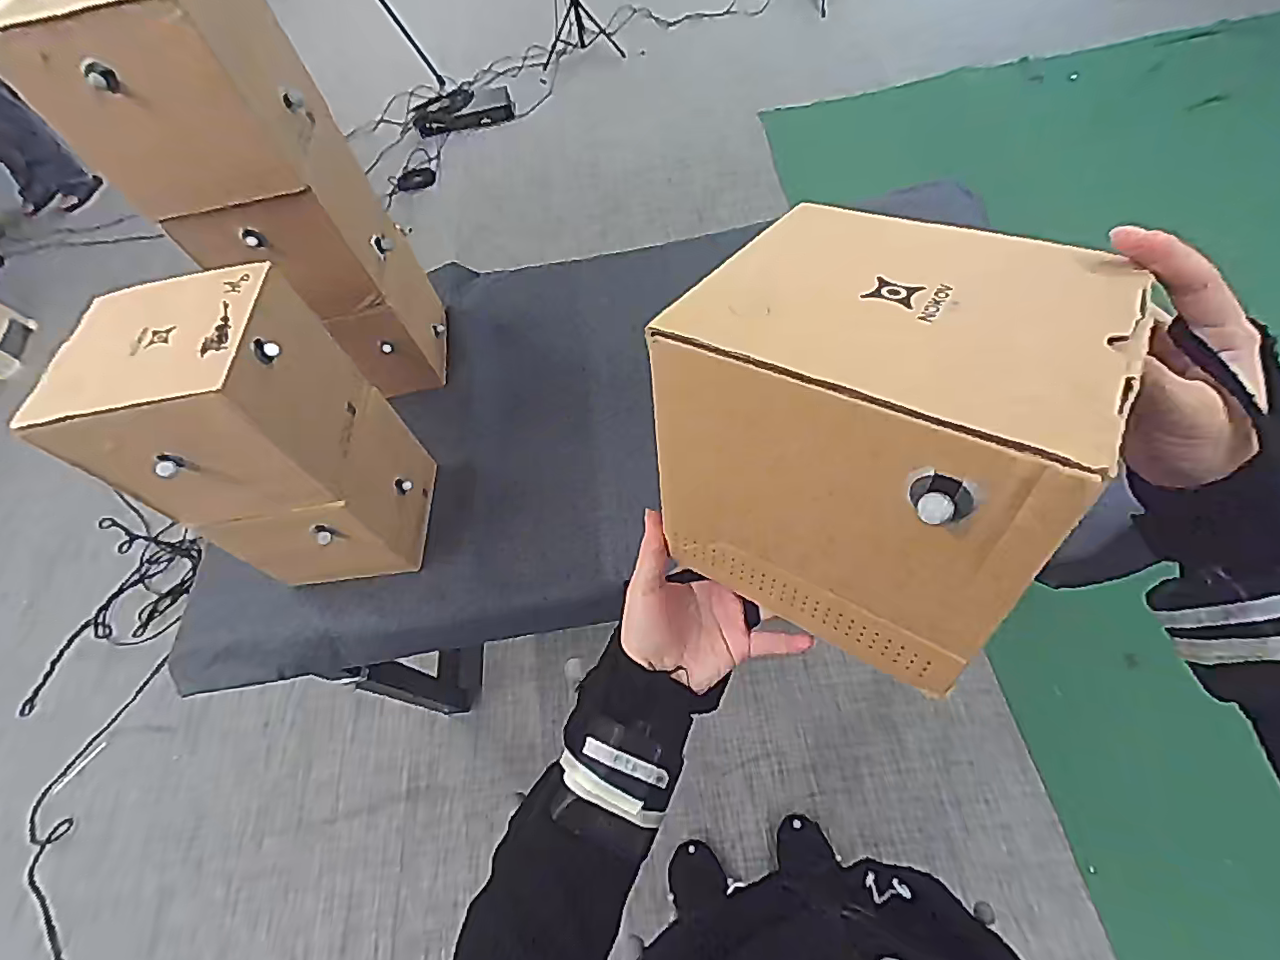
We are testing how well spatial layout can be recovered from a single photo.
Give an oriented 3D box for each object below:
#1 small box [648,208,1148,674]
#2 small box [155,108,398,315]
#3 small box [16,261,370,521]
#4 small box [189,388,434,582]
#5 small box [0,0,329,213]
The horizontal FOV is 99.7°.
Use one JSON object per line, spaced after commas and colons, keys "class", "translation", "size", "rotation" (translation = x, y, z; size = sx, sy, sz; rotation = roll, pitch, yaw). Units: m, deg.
{"class": "small box", "translation": [0.123, -0.026, 0.301], "size": [0.179, 0.176, 0.168], "rotation": [25, 53, 26]}
{"class": "small box", "translation": [-0.433, -0.320, 0.678], "size": [0.179, 0.176, 0.168], "rotation": [-12, 61, 0]}
{"class": "small box", "translation": [-0.401, -0.076, 0.526], "size": [0.179, 0.176, 0.168], "rotation": [-11, 57, 3]}
{"class": "small box", "translation": [-0.376, 0.013, 0.661], "size": [0.179, 0.176, 0.168], "rotation": [-7, 57, 4]}
{"class": "small box", "translation": [-0.448, -0.392, 0.531], "size": [0.179, 0.176, 0.168], "rotation": [-10, 61, 1]}
